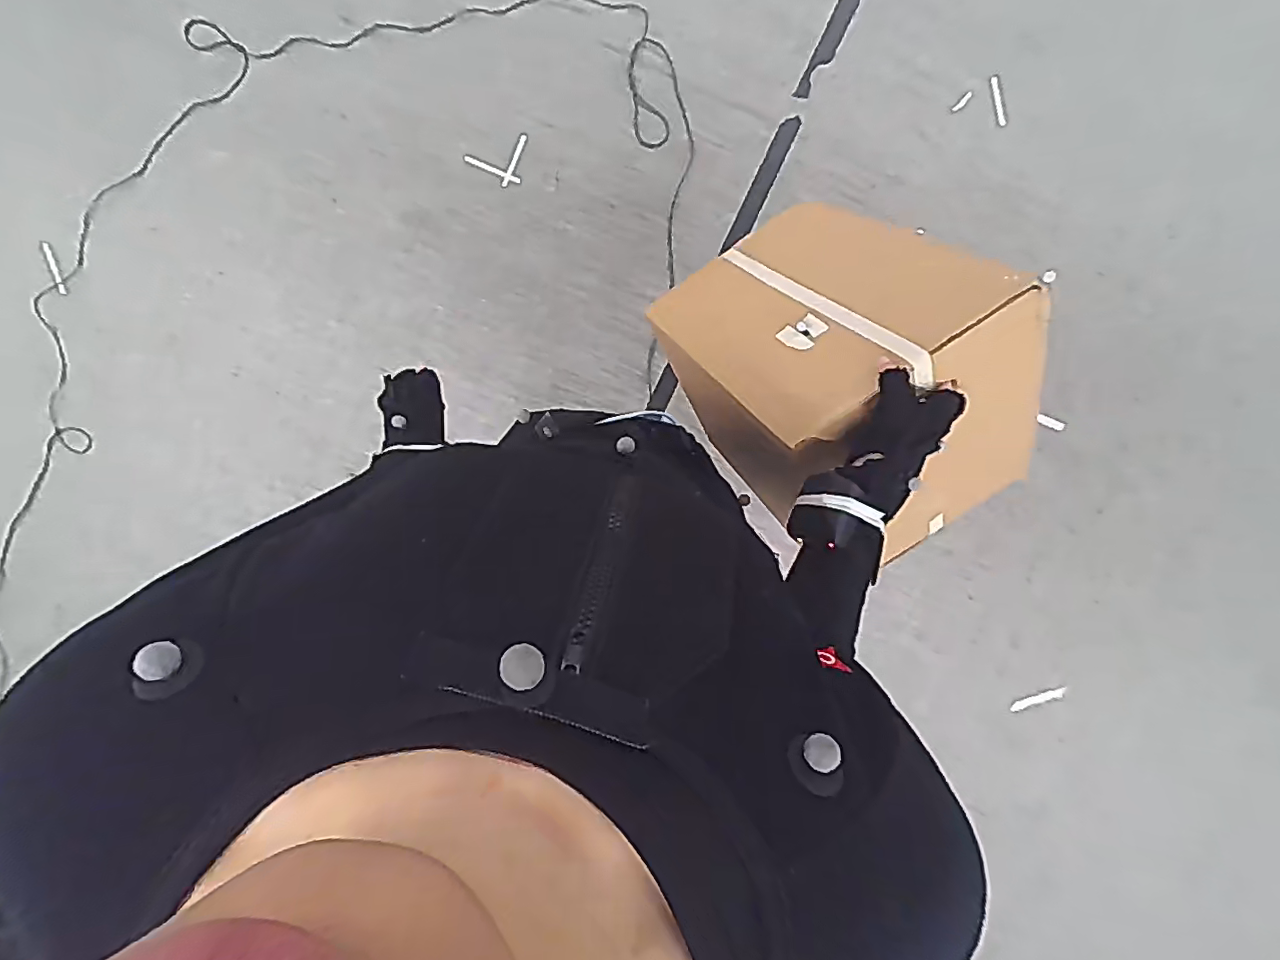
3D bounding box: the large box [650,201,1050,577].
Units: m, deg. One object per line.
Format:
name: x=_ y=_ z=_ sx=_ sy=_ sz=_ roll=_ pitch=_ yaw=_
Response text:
large box: x=0.274 y=-0.143 z=0.793 sx=0.320 sy=0.408 sz=0.320 roll=-34 pitch=134 yaw=2
